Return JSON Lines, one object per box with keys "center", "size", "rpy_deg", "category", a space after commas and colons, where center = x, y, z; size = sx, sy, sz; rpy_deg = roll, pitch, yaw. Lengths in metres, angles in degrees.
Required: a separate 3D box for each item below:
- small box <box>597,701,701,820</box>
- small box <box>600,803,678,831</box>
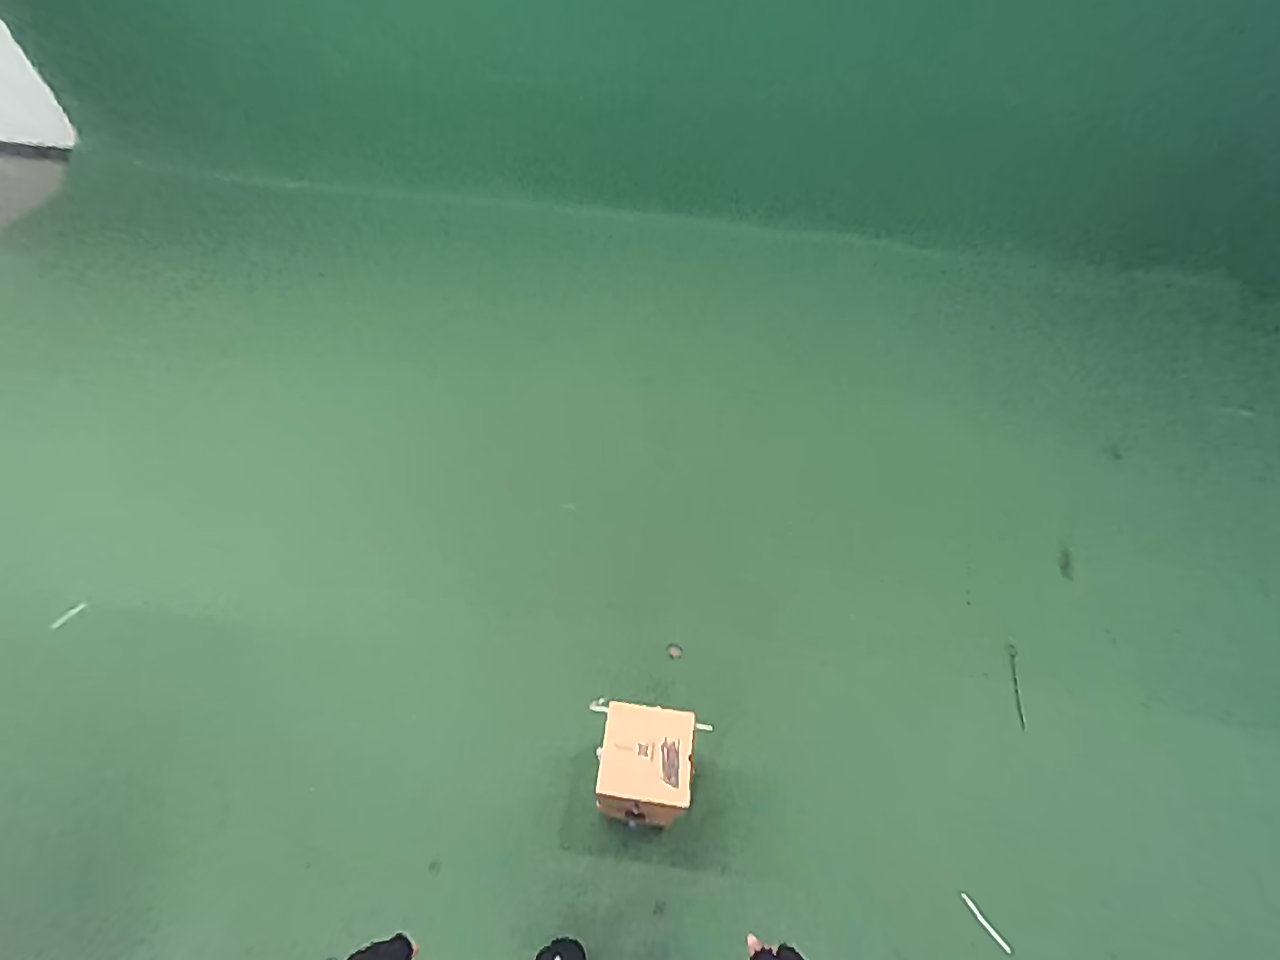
{"center": [0.018, 0.568, 1.087], "size": [0.179, 0.176, 0.168], "rpy_deg": [10, 51, 5], "category": "small box"}
{"center": [0.008, 0.671, 1.219], "size": [0.168, 0.176, 0.179], "rpy_deg": [7, 53, 4], "category": "small box"}
